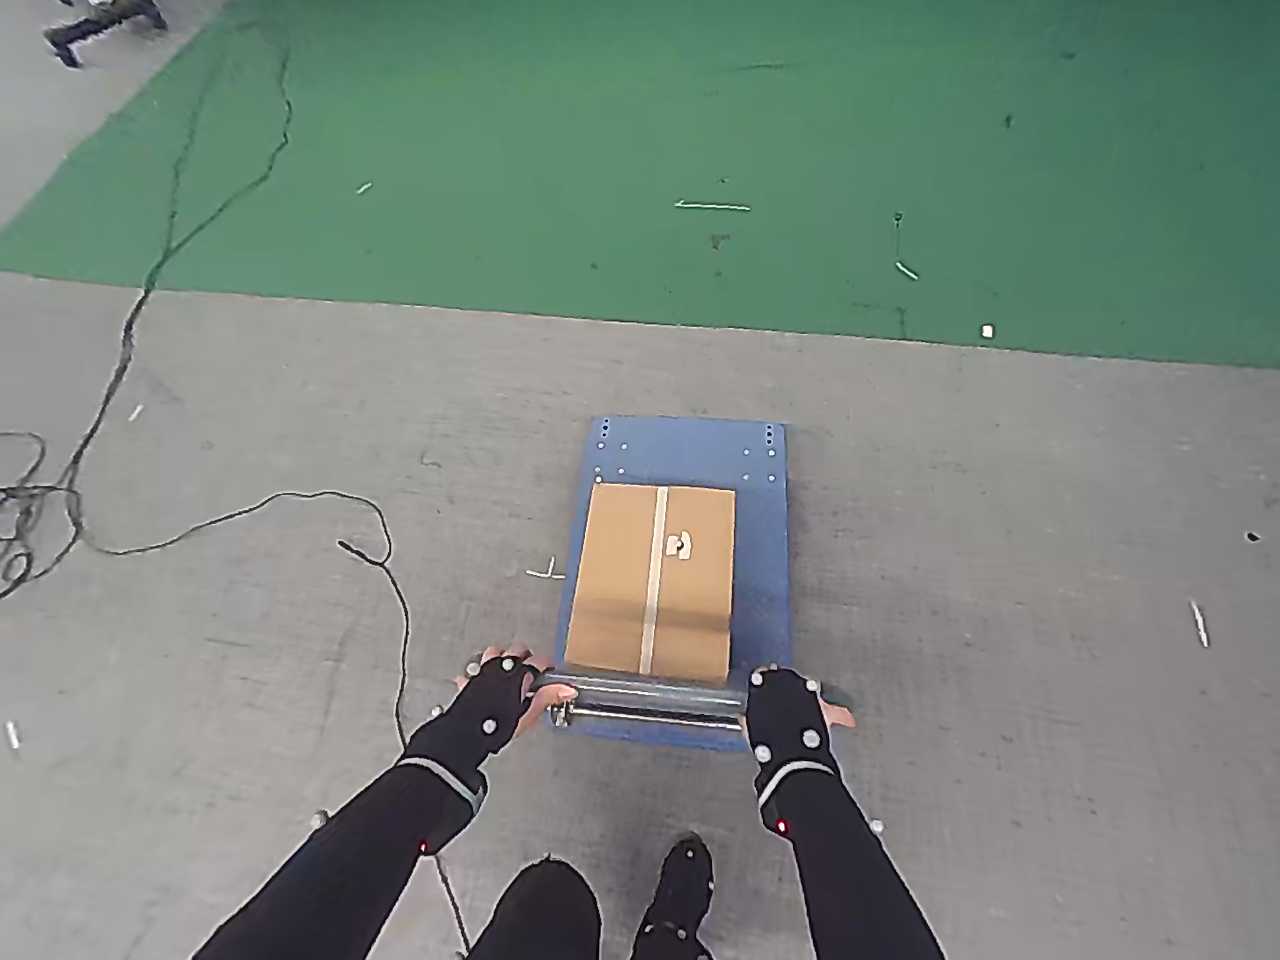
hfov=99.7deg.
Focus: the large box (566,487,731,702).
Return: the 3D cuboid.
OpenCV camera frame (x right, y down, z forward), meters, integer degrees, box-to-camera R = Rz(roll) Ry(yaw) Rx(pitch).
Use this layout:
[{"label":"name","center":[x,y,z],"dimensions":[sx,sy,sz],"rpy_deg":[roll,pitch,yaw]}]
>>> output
[{"label":"large box","center":[0.040,0.269,1.232],"dimensions":[0.320,0.320,0.408],"rpy_deg":[4,62,6]}]
